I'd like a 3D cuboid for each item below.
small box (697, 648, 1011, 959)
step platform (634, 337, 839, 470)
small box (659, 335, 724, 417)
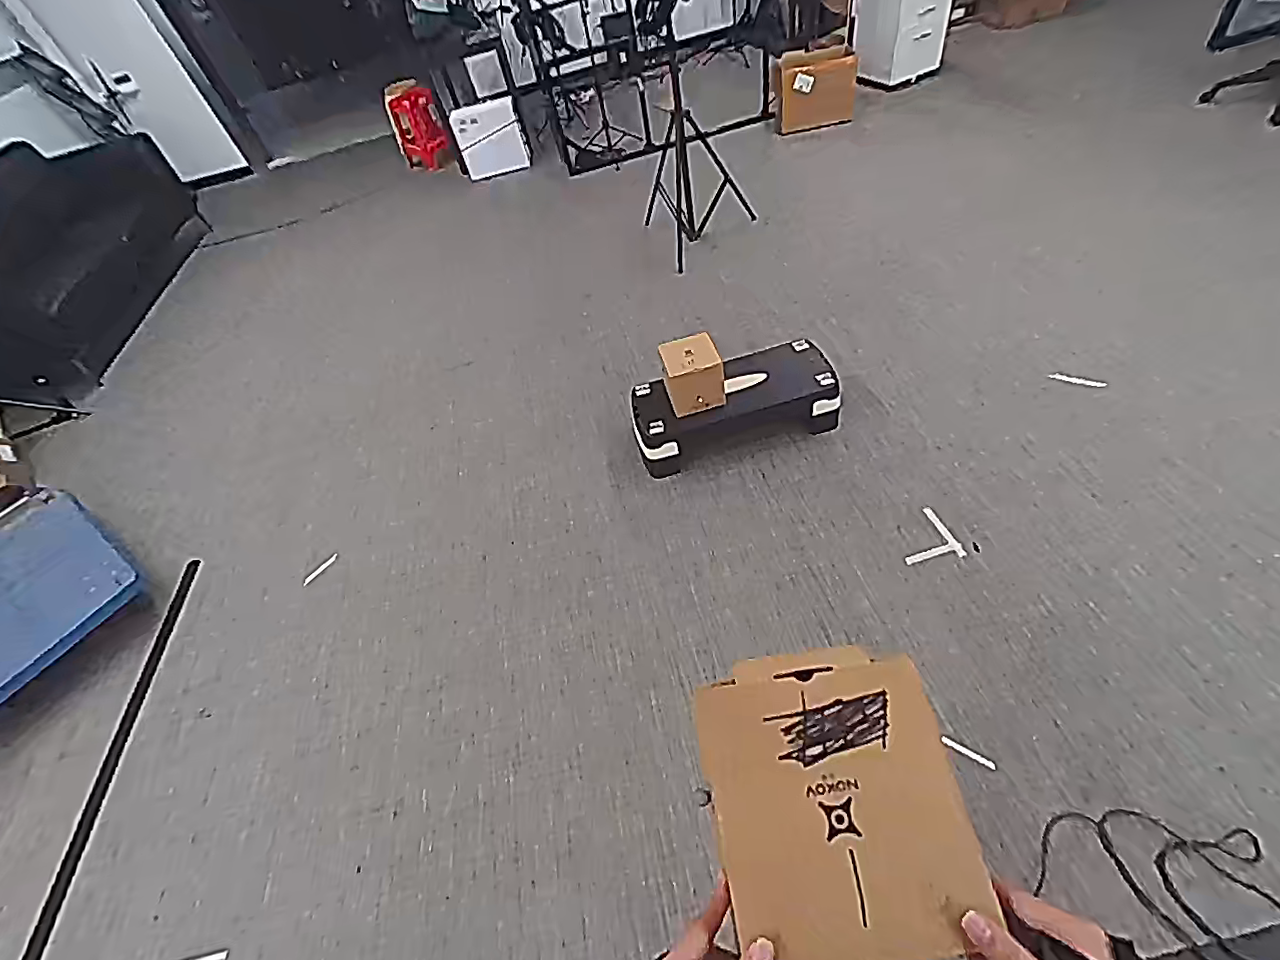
[{"bbox_3d":[0.141,0.249,0.437,0.168,0.176,0.179,-8,63,1],"label":"small box"},{"bbox_3d":[0.323,-0.269,1.871,0.684,0.204,0.286,-16,48,0],"label":"step platform"},{"bbox_3d":[0.165,-0.330,1.728,0.168,0.176,0.179,-16,48,1],"label":"small box"}]
